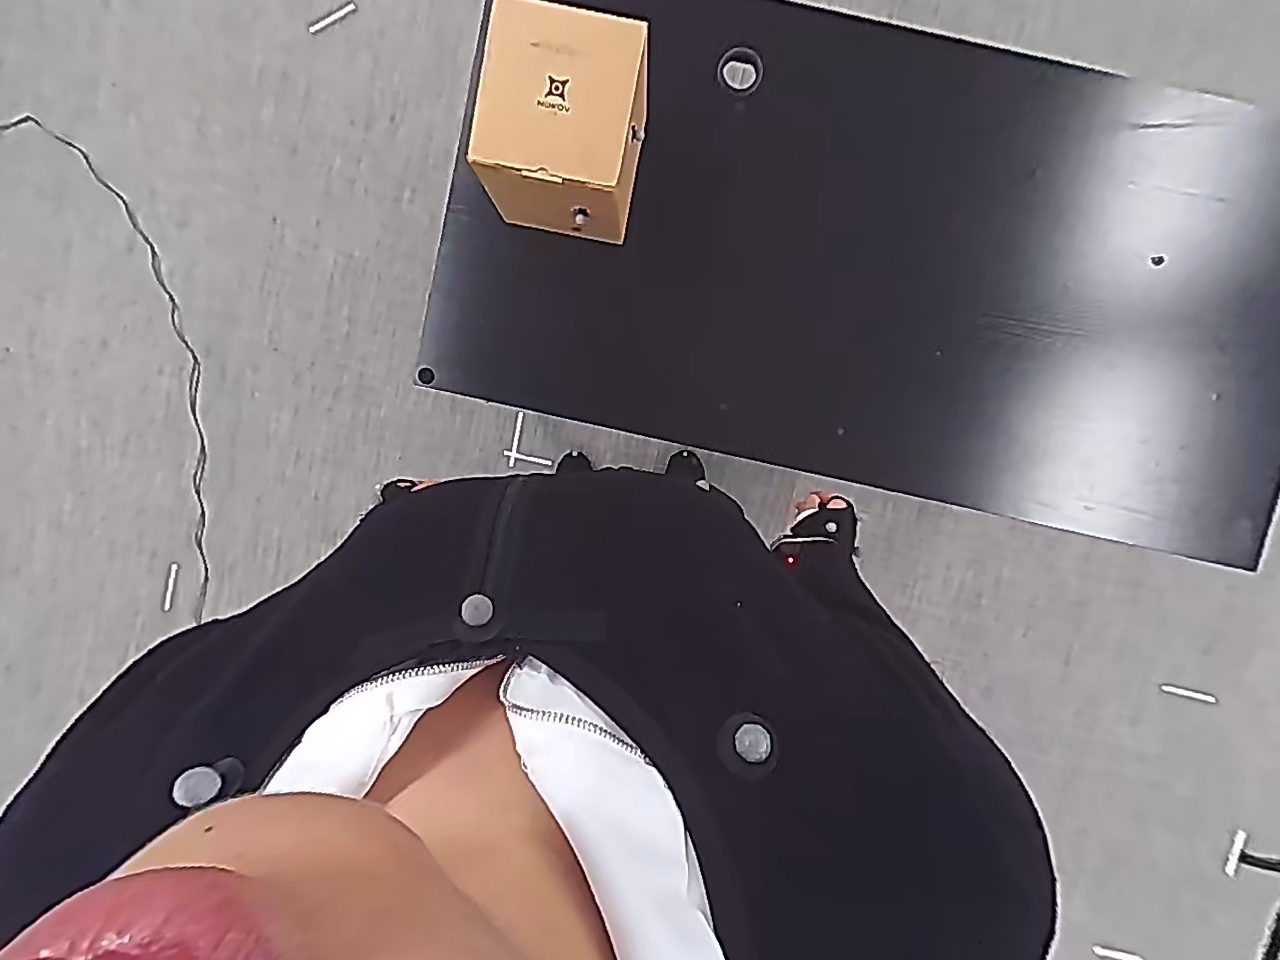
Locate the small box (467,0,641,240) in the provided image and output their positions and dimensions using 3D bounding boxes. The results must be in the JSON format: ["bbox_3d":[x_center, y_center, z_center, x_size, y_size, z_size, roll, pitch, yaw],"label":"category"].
[{"bbox_3d":[-0.093,-0.418,0.658,0.168,0.176,0.179,11,93,-2],"label":"small box"}]
